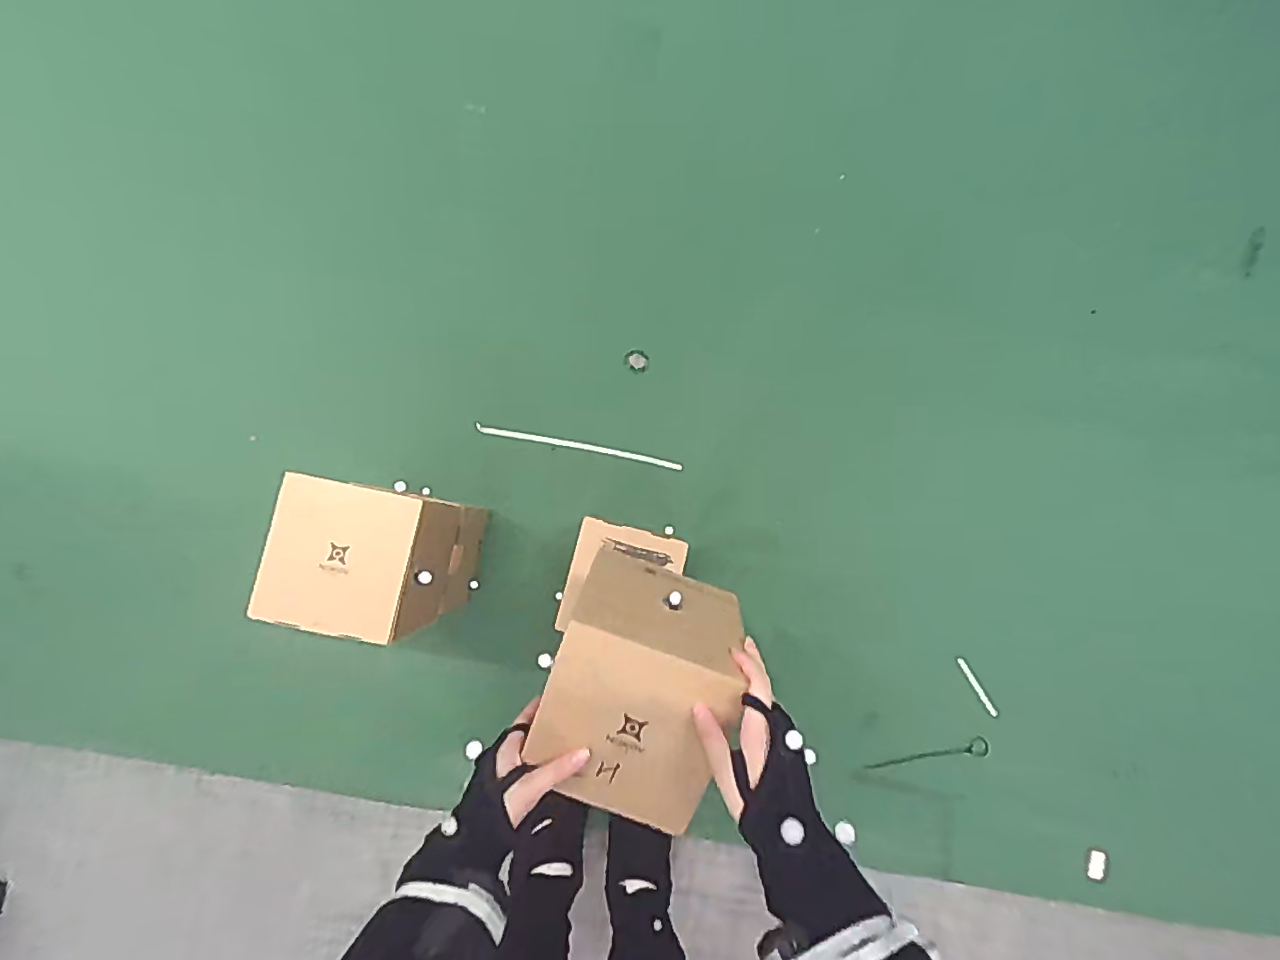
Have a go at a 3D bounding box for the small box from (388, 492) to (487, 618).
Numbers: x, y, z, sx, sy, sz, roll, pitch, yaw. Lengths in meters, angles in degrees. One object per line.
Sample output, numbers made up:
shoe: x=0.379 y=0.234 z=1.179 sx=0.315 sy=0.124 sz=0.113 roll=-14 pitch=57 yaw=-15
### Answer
small box: x=-0.363 y=0.113 z=0.875 sx=0.179 sy=0.176 sz=0.168 roll=12 pitch=84 yaw=0

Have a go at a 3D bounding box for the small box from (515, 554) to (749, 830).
small box: x=-0.005 y=0.199 z=0.555 sx=0.168 sy=0.176 sz=0.179 roll=21 pitch=105 yaw=0

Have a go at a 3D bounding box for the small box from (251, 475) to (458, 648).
small box: x=-0.355 y=0.102 z=0.712 sx=0.168 sy=0.176 sz=0.179 roll=12 pitch=85 yaw=-1
